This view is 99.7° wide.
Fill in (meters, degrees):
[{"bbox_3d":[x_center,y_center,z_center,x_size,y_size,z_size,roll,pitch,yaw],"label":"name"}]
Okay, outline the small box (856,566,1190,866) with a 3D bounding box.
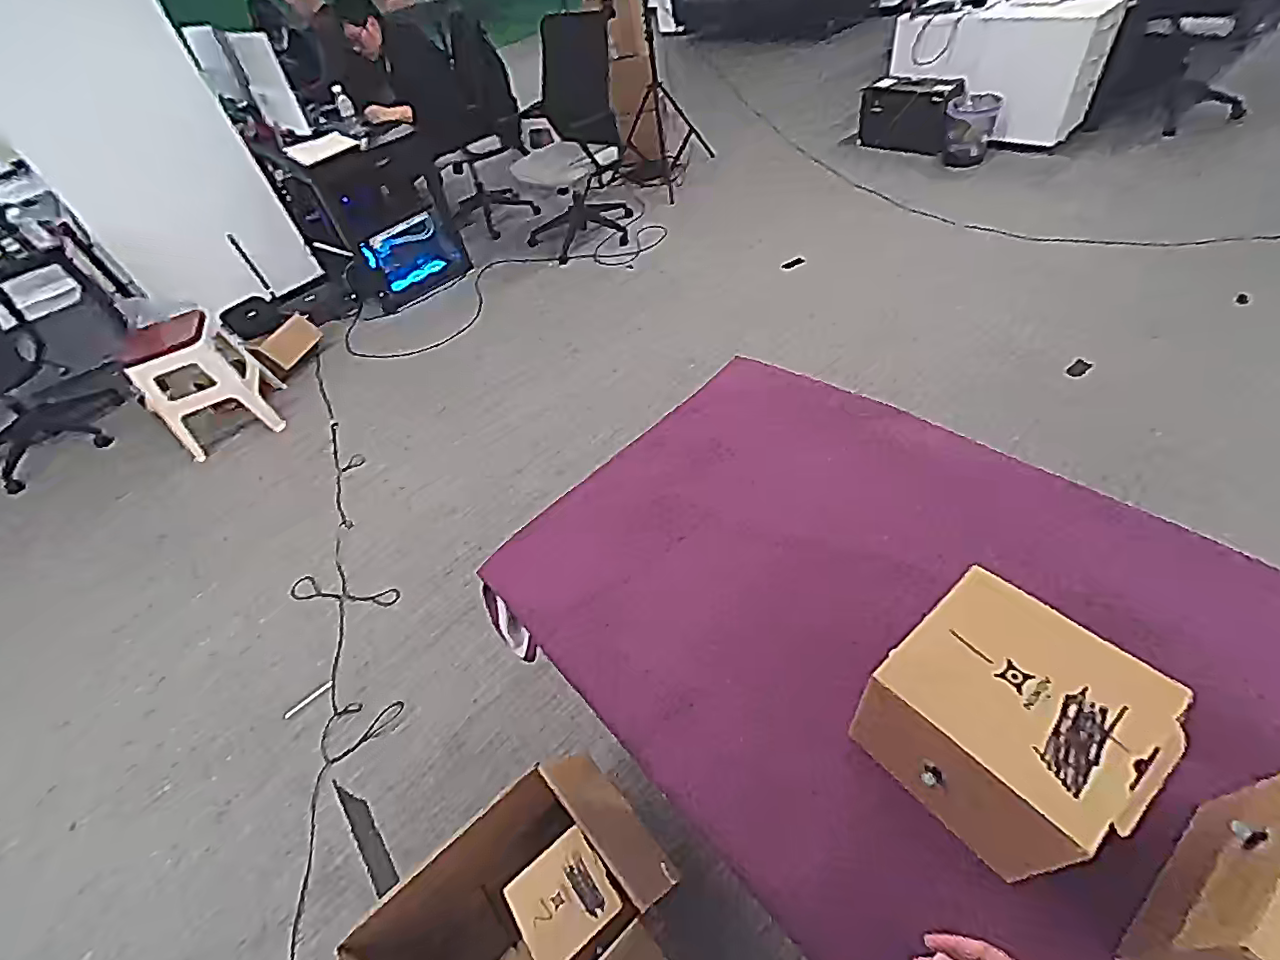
[{"bbox_3d":[0.330,0.222,0.506,0.168,0.176,0.179,-36,49,-19],"label":"small box"}]
